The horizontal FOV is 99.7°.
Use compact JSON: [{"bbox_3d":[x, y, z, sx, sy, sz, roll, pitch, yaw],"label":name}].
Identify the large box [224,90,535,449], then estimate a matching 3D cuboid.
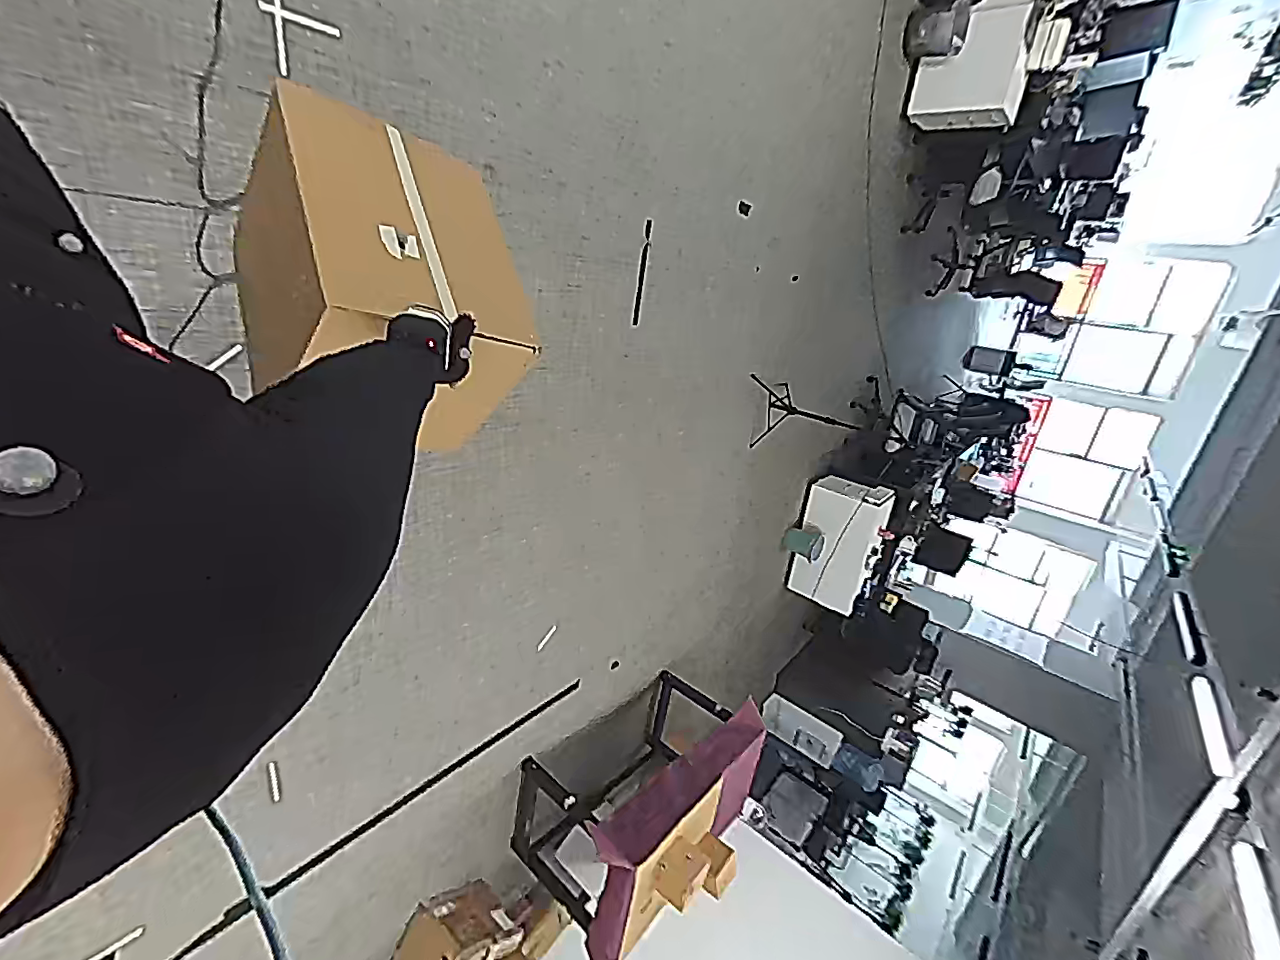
[{"bbox_3d":[-0.437,-0.301,0.892,0.320,0.408,0.320,-35,159,36],"label":"large box"}]
